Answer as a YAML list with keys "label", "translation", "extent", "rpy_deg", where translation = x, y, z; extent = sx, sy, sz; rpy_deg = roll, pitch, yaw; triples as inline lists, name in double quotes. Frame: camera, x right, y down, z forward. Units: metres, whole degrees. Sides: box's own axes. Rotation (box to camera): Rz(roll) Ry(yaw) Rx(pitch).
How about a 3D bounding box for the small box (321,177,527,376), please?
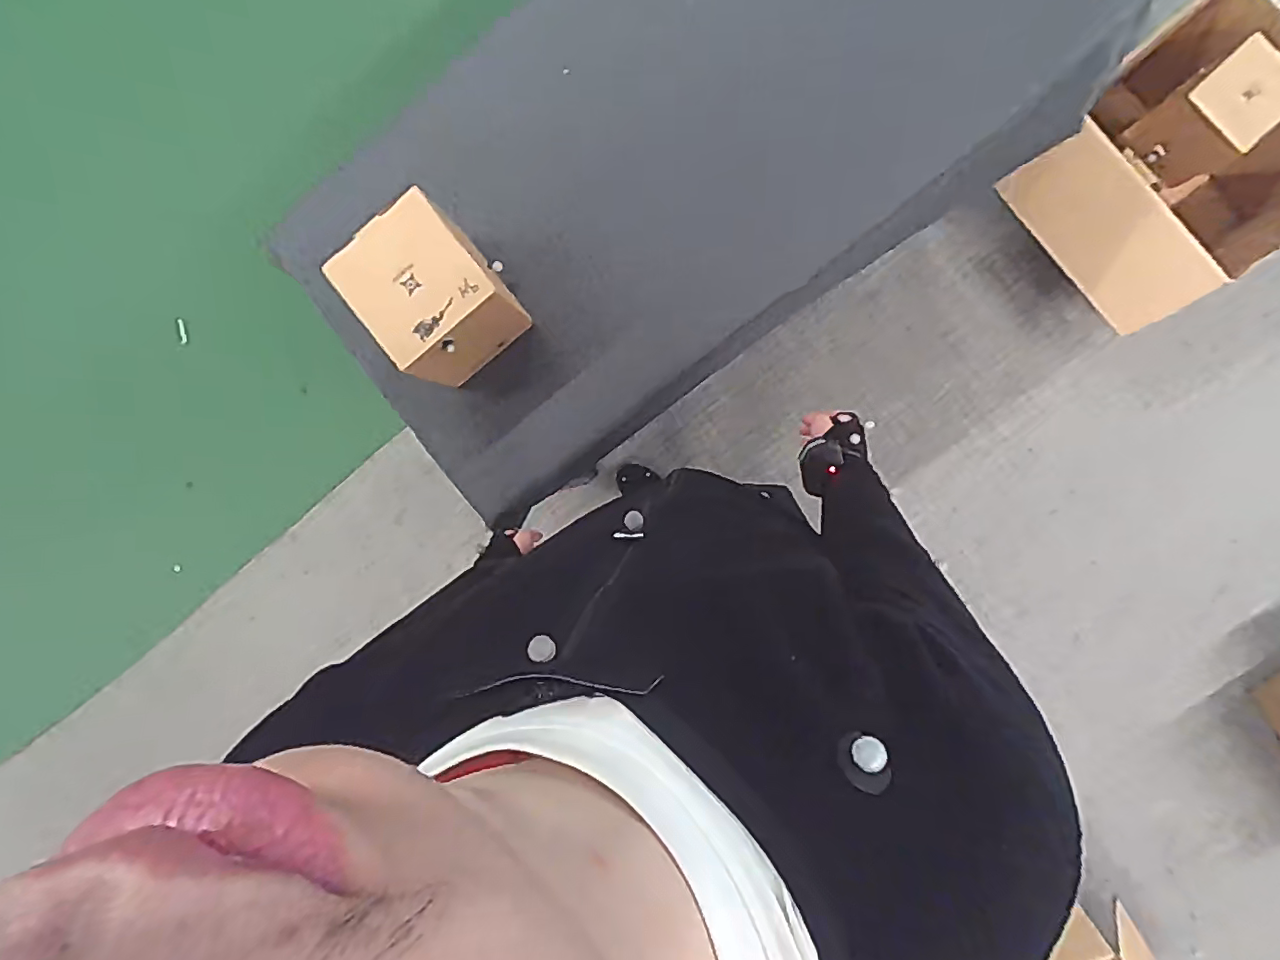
- label: "small box"
  translation: [-0.291, -0.270, 0.765]
  extent: [0.168, 0.176, 0.179]
  rpy_deg: [-38, 88, 5]

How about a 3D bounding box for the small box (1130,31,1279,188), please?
- label: "small box"
  translation: [1.222, -0.774, 1.149]
  extent: [0.179, 0.176, 0.168]
  rpy_deg: [-44, 90, 7]
